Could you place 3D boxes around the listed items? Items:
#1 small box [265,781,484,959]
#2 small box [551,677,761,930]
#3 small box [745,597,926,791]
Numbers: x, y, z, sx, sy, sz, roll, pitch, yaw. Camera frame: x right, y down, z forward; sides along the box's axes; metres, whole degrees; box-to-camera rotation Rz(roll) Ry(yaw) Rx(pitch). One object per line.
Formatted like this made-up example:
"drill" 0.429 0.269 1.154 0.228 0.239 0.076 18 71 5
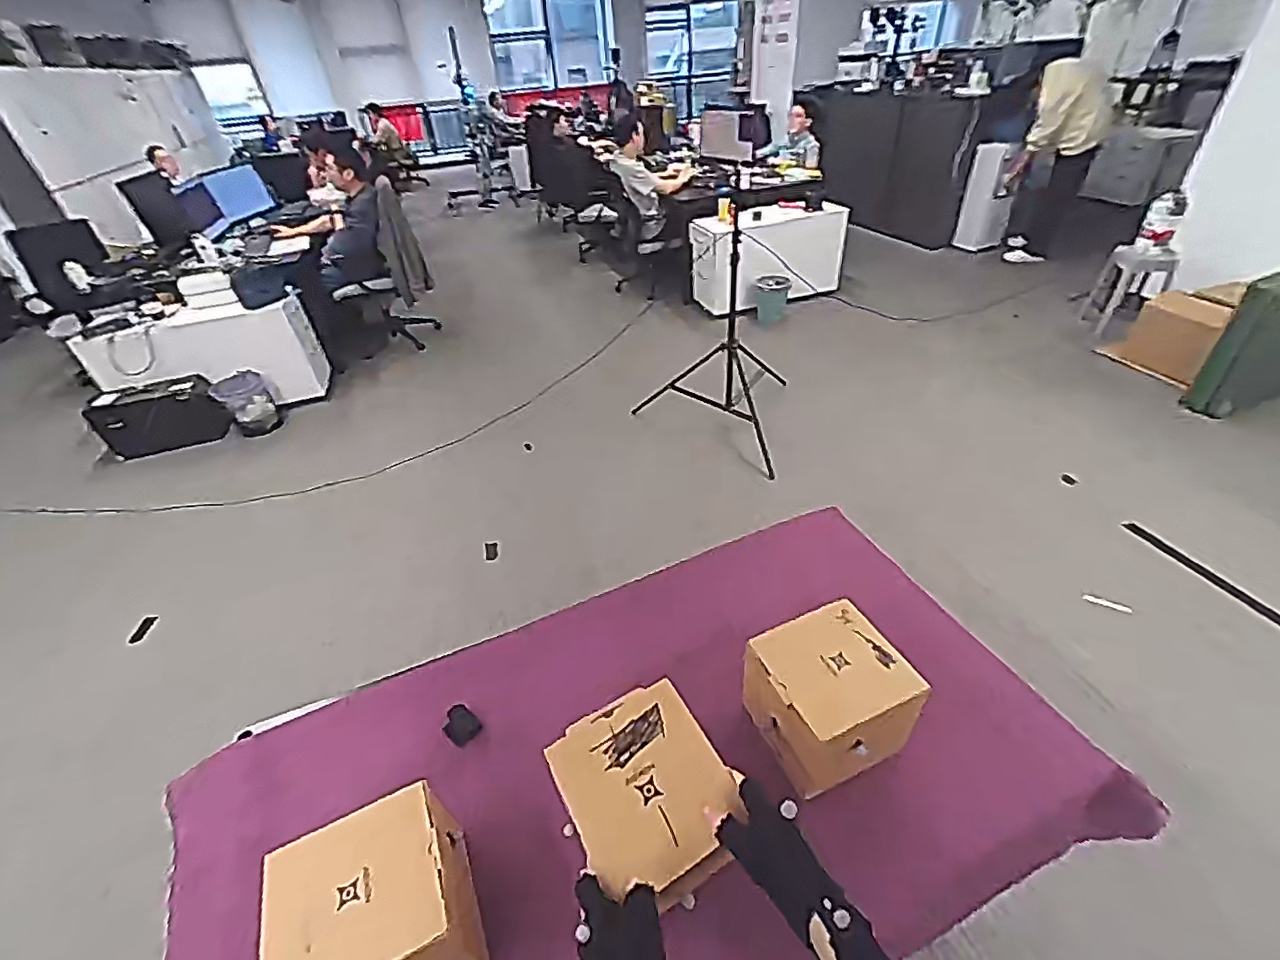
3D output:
"small box" -0.289 0.492 0.613 0.179 0.176 0.168 -21 39 -18
"small box" 0.012 0.373 0.626 0.168 0.176 0.179 -23 50 -20
"small box" 0.268 0.308 0.779 0.179 0.176 0.168 -19 40 -15
